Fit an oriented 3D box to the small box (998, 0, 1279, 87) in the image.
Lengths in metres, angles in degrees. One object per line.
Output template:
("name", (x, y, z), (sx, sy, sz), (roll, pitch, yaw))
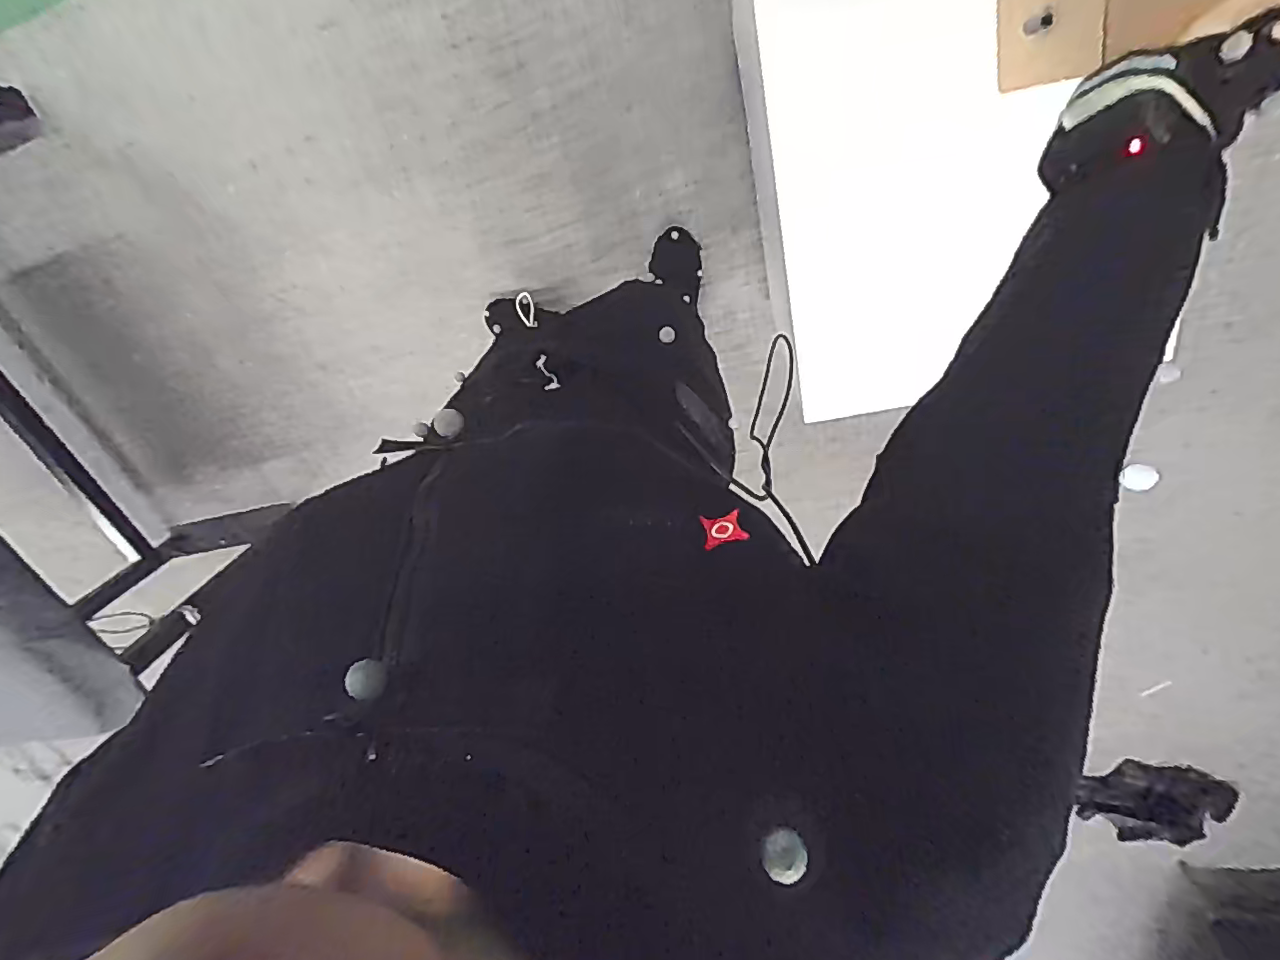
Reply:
("small box", (0.375, -0.403, 0.375), (0.168, 0.176, 0.179), (-13, 117, 15))
